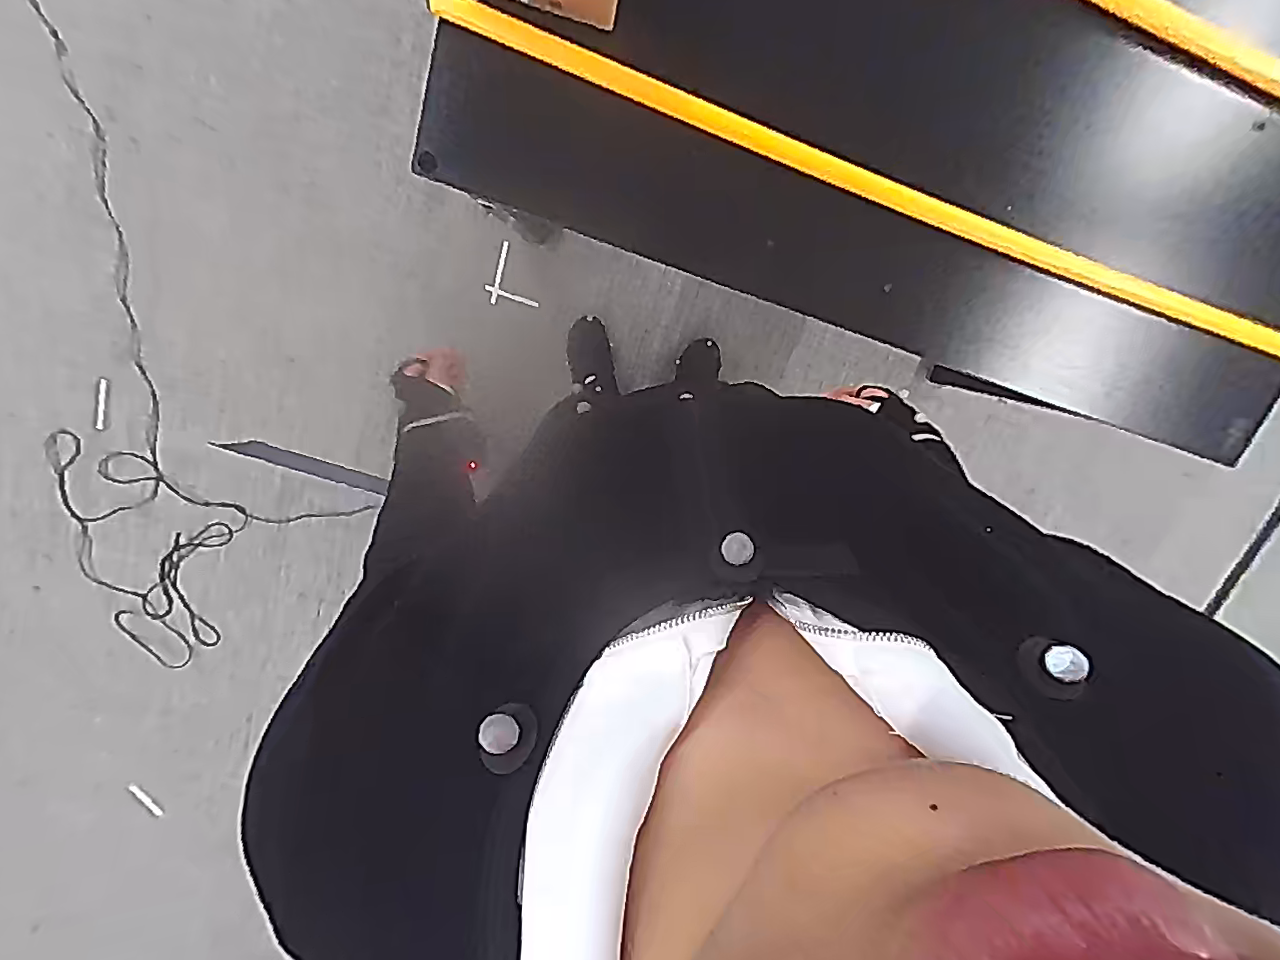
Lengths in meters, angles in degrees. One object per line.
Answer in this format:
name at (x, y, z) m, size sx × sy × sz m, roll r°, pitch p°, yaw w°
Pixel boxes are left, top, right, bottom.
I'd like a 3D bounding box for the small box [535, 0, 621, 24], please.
small box at (-0.079, -0.573, 0.487) m, size 0.168 × 0.176 × 0.179 m, roll 13°, pitch 107°, yaw -7°
